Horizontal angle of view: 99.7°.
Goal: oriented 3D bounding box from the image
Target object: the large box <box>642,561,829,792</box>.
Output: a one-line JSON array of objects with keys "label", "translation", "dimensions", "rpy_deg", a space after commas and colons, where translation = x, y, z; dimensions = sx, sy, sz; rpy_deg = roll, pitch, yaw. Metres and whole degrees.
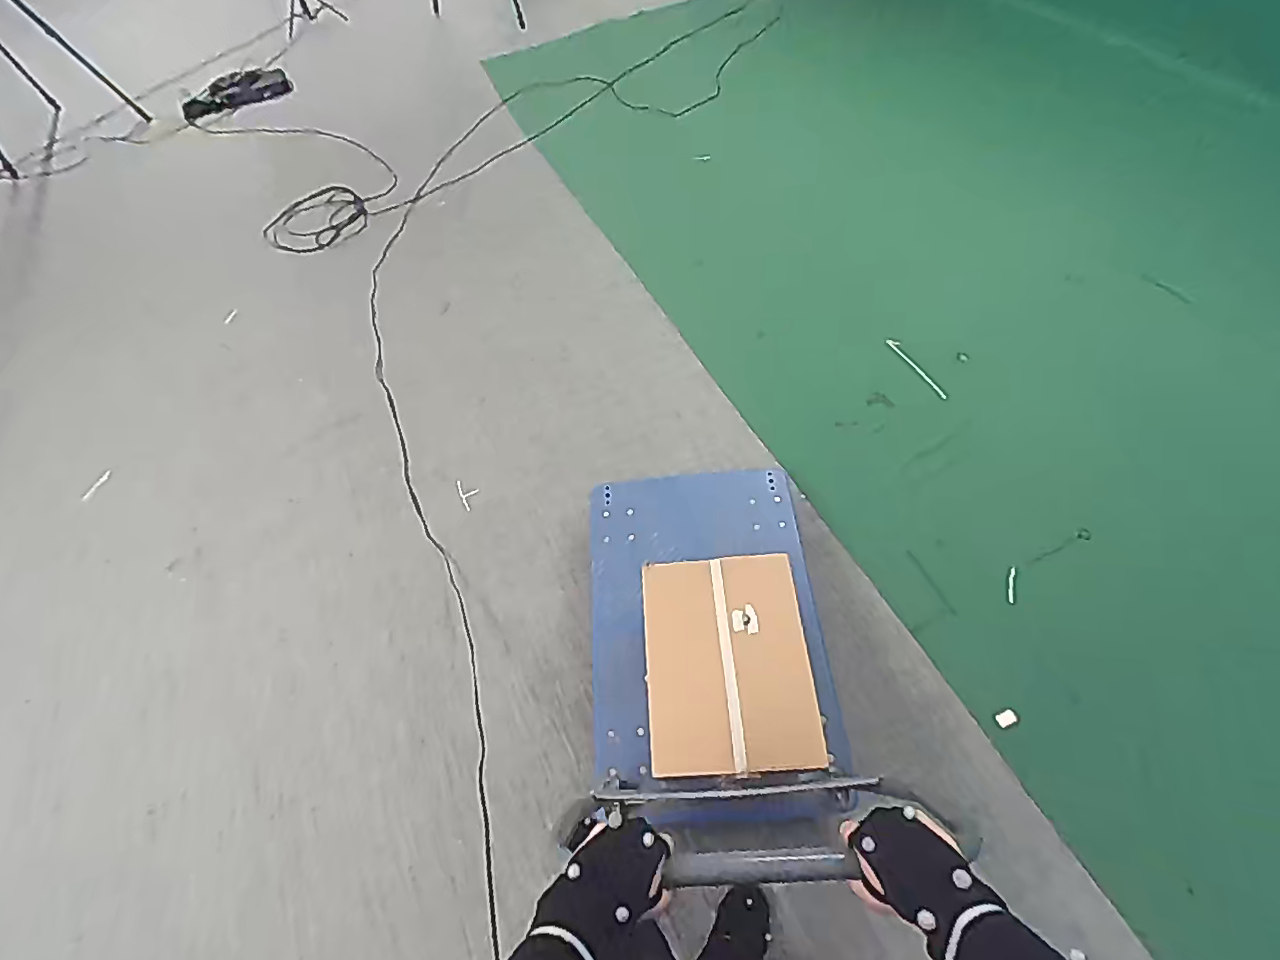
[{"label": "large box", "translation": [0.183, 0.433, 1.175], "dimensions": [0.320, 0.320, 0.408], "rpy_deg": [-5, 58, 3]}]
